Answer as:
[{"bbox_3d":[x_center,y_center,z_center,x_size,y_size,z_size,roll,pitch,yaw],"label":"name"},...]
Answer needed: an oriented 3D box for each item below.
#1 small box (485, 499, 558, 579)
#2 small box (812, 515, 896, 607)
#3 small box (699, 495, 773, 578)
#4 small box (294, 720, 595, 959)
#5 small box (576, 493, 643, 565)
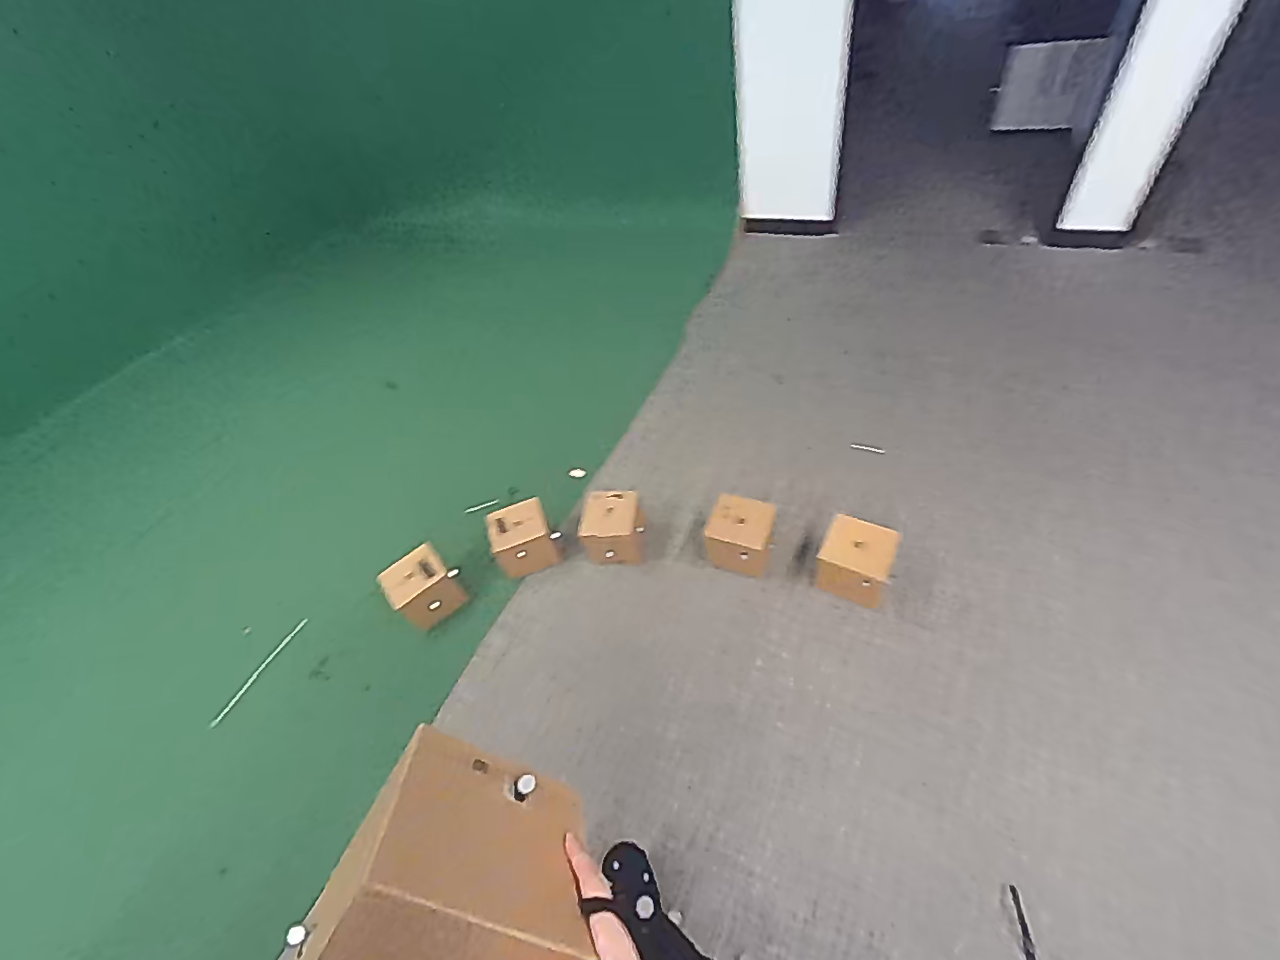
[{"bbox_3d":[-0.386,0.198,1.769,0.179,0.176,0.168,-20,48,-5],"label":"small box"},{"bbox_3d":[0.594,0.231,1.519,0.179,0.176,0.168,19,57,25],"label":"small box"},{"bbox_3d":[0.293,0.174,1.632,0.179,0.176,0.168,13,54,22],"label":"small box"},{"bbox_3d":[-0.152,0.336,0.428,0.179,0.168,0.176,-58,12,2],"label":"small box"},{"bbox_3d":[-0.091,0.159,1.735,0.168,0.176,0.179,0,51,13],"label":"small box"}]
